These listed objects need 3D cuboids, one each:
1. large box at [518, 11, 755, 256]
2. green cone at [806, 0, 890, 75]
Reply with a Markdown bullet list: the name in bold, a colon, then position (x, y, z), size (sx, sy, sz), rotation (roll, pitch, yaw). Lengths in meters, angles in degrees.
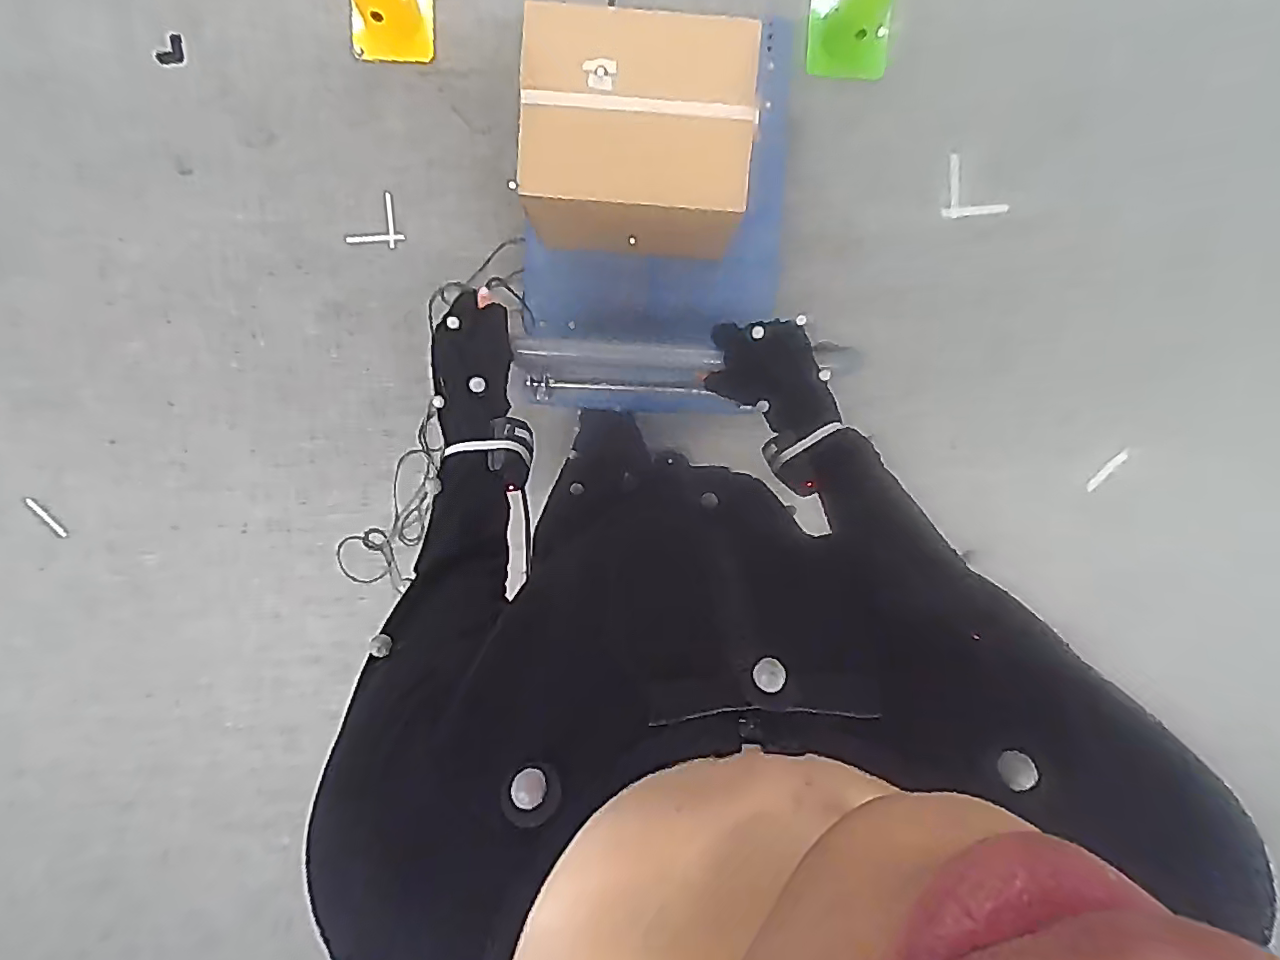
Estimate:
- **large box**: position (-0.005, -0.654, 1.081), size (0.408, 0.320, 0.320), rotation (4, 96, 1)
- **green cone**: position (0.519, -1.101, 1.177), size (0.202, 0.368, 0.200), rotation (2, 96, -1)
